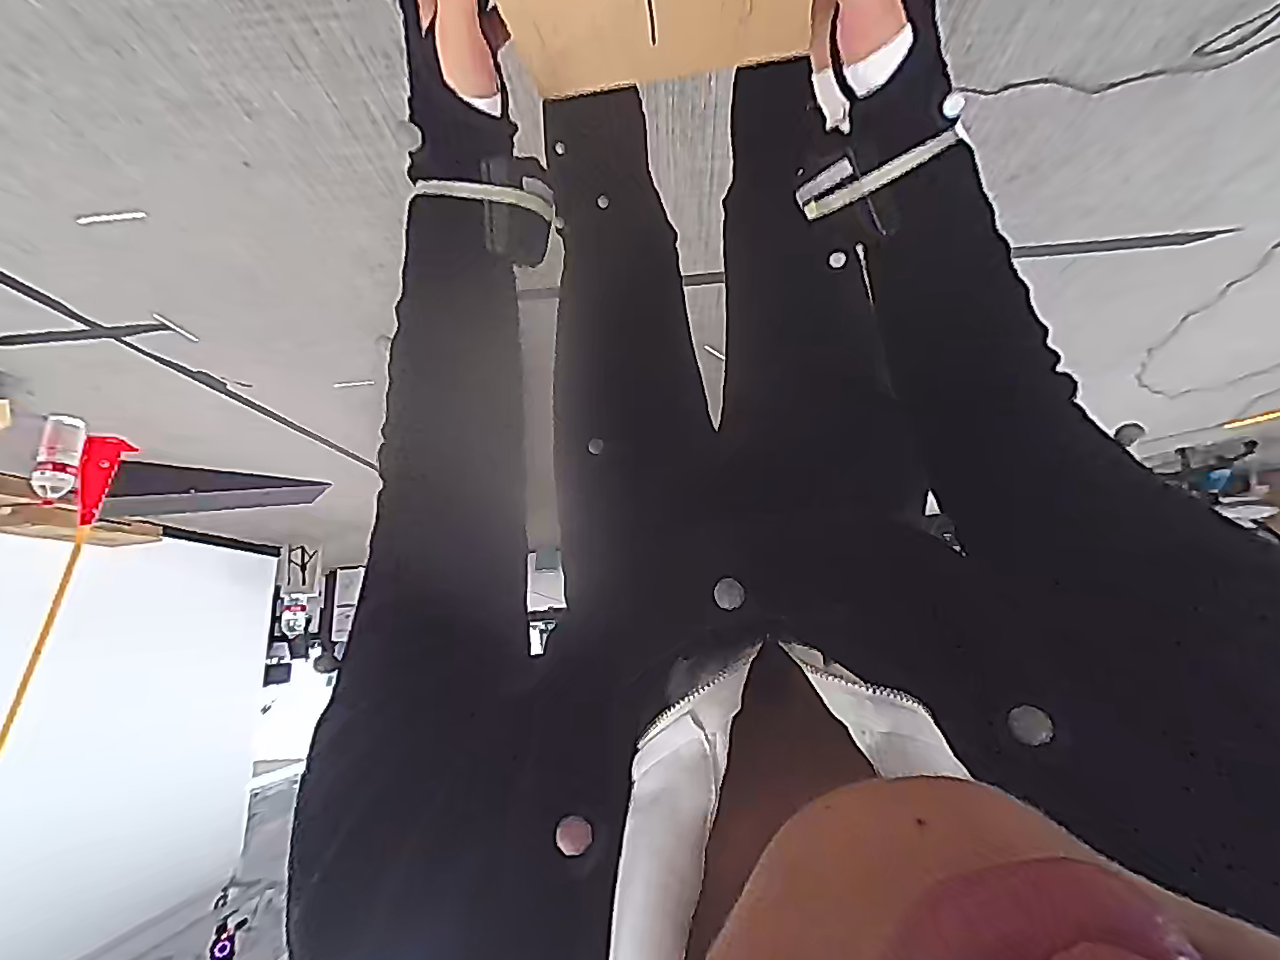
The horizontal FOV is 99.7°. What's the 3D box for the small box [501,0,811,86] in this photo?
[{"bbox_3d":[0.001,-0.349,0.262,0.168,0.176,0.179,2,166,16],"label":"small box"}]
